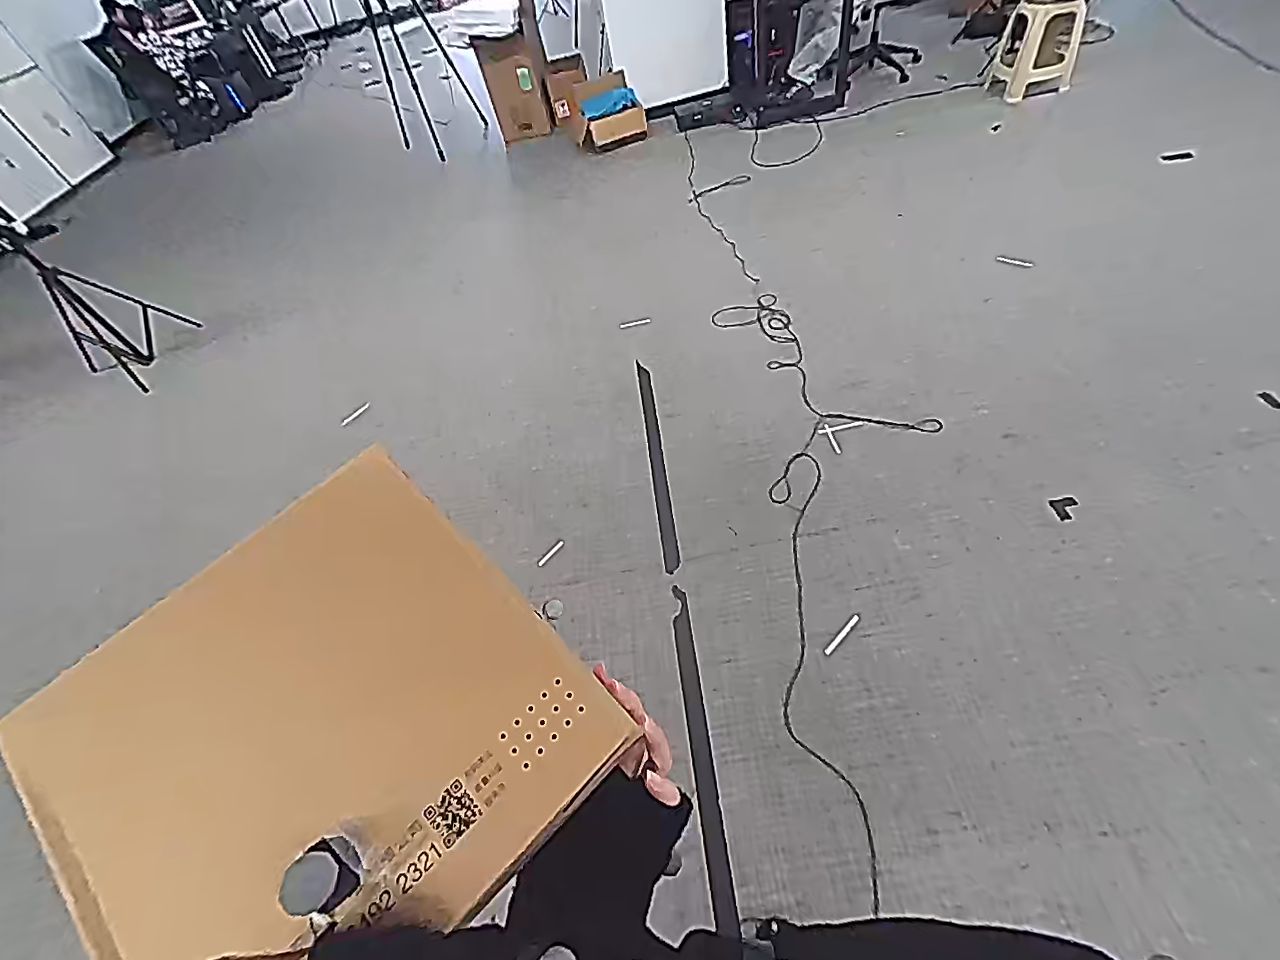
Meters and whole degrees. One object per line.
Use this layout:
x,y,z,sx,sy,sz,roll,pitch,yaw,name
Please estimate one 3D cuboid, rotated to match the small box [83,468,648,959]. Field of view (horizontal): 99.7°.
-0.110,0.133,0.287,0.176,0.179,0.168,41,73,19,small box
